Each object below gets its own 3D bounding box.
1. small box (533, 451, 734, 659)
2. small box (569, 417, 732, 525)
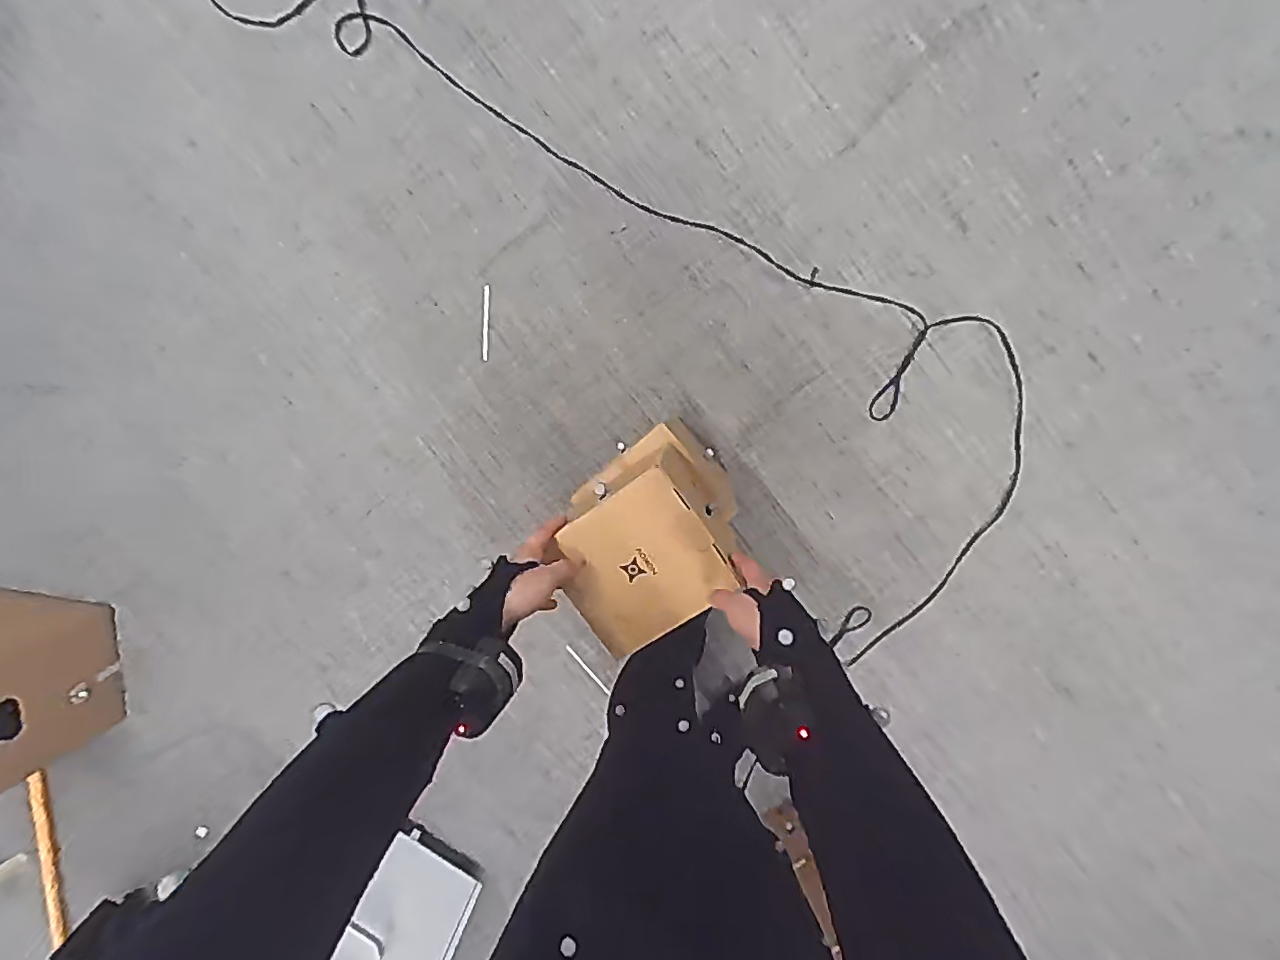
[{"bbox_3d":[0.001,0.083,0.683,0.179,0.176,0.168,-34,97,12],"label":"small box"},{"bbox_3d":[0.023,0.022,0.834,0.179,0.176,0.168,-39,96,12],"label":"small box"}]
